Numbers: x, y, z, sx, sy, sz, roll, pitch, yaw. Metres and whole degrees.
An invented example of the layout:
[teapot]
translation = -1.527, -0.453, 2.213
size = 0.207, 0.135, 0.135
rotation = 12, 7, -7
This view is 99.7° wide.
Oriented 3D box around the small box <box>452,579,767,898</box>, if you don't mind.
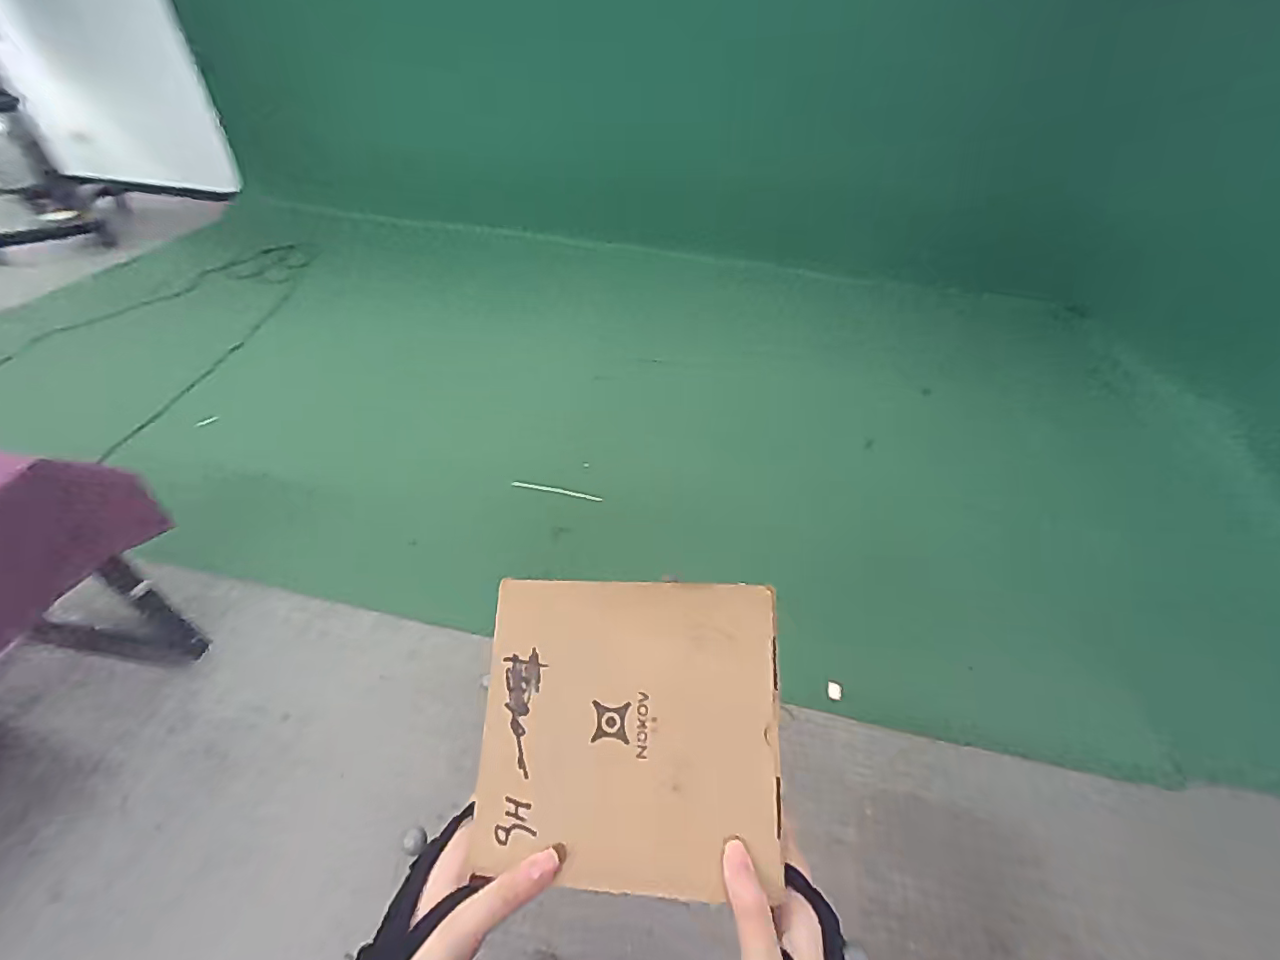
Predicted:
[small box]
translation = -0.008, 0.166, 0.392
size = 0.179, 0.176, 0.168
rotation = -1, 71, 8
